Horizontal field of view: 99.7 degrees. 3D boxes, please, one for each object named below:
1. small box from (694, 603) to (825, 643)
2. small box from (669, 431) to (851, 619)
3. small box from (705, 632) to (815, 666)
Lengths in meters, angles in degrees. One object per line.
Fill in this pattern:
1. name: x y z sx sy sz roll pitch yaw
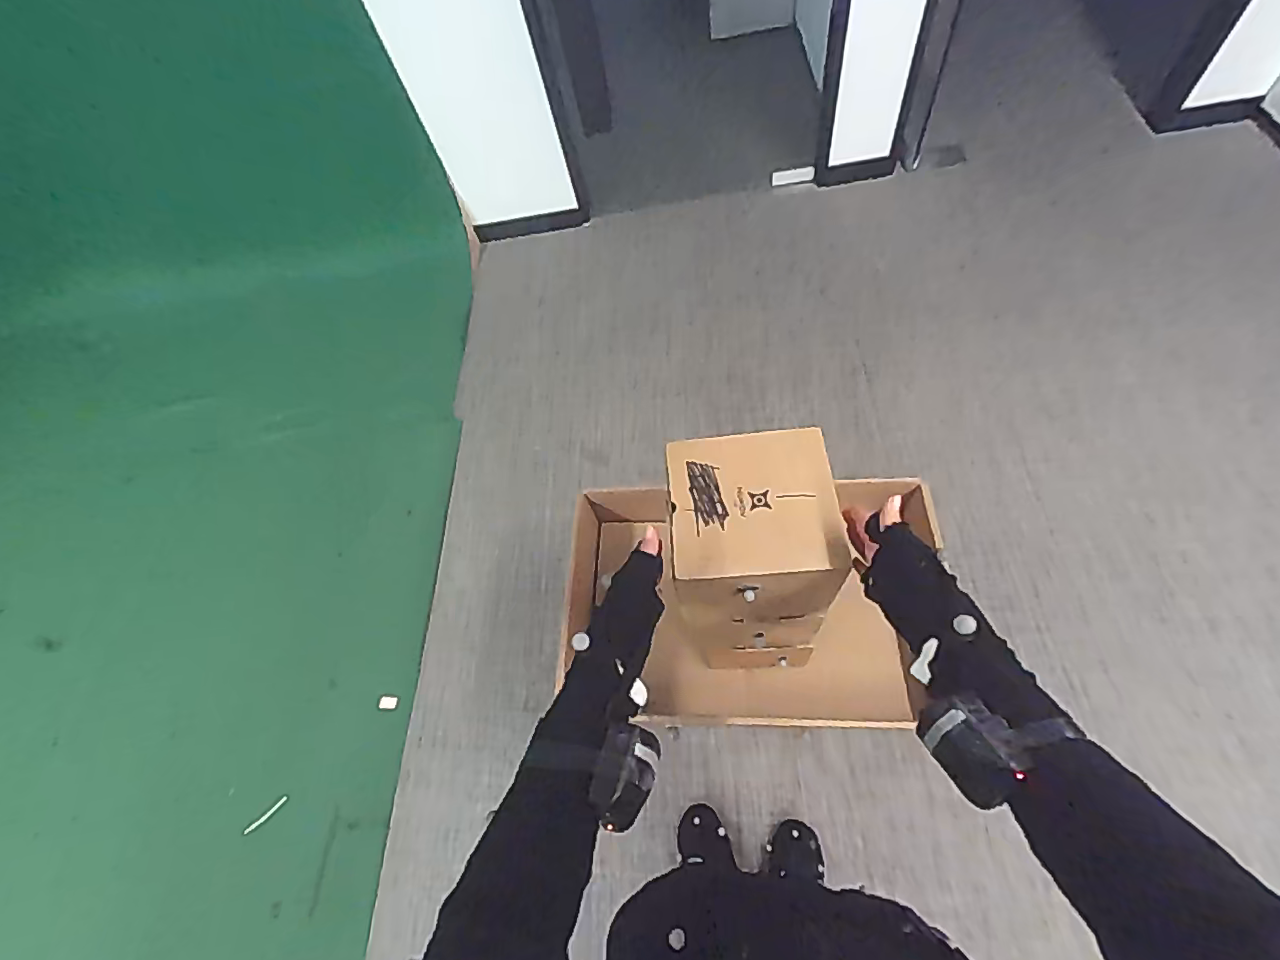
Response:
1. small box: 0.163 0.137 0.785 0.168 0.176 0.179 -4 62 7
2. small box: 0.131 0.062 0.641 0.179 0.176 0.168 -5 61 6
3. small box: 0.195 0.216 0.924 0.168 0.176 0.179 -4 59 7
